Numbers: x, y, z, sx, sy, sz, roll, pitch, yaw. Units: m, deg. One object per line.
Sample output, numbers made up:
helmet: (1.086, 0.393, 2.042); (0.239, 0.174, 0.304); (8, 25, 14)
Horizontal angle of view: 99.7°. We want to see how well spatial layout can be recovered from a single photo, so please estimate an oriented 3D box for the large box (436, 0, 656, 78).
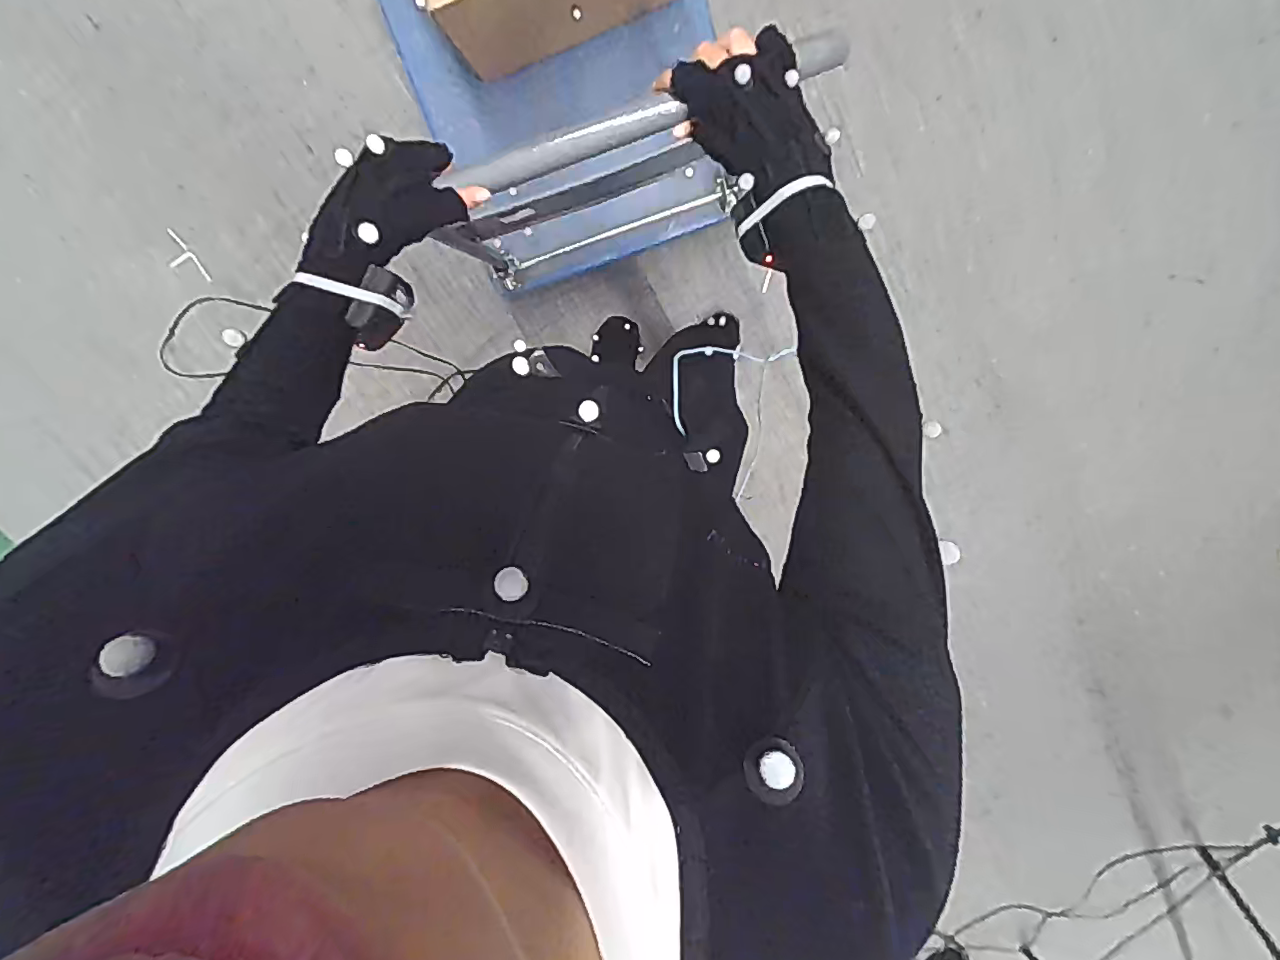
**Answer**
large box: (-0.151, -0.914, 0.828); (0.408, 0.320, 0.320); (-20, 109, 7)
